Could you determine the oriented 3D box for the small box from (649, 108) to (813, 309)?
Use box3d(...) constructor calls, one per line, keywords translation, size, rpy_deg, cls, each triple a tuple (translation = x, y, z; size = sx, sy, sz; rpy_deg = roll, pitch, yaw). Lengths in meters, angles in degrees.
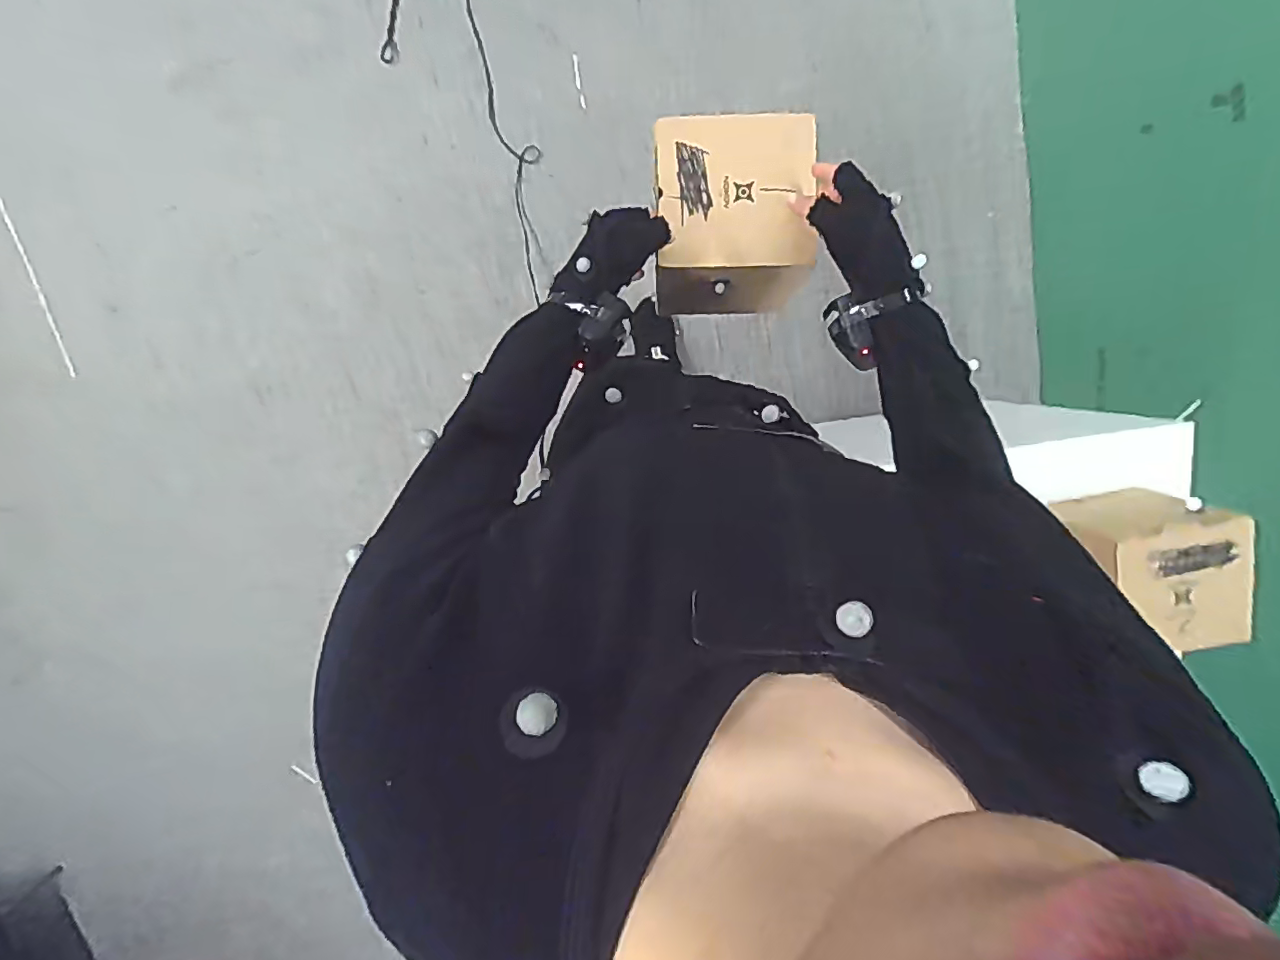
box3d(translation=(0.102, -0.316, 0.661), size=(0.179, 0.176, 0.168), rpy_deg=(-1, 90, 1), cls="small box")
